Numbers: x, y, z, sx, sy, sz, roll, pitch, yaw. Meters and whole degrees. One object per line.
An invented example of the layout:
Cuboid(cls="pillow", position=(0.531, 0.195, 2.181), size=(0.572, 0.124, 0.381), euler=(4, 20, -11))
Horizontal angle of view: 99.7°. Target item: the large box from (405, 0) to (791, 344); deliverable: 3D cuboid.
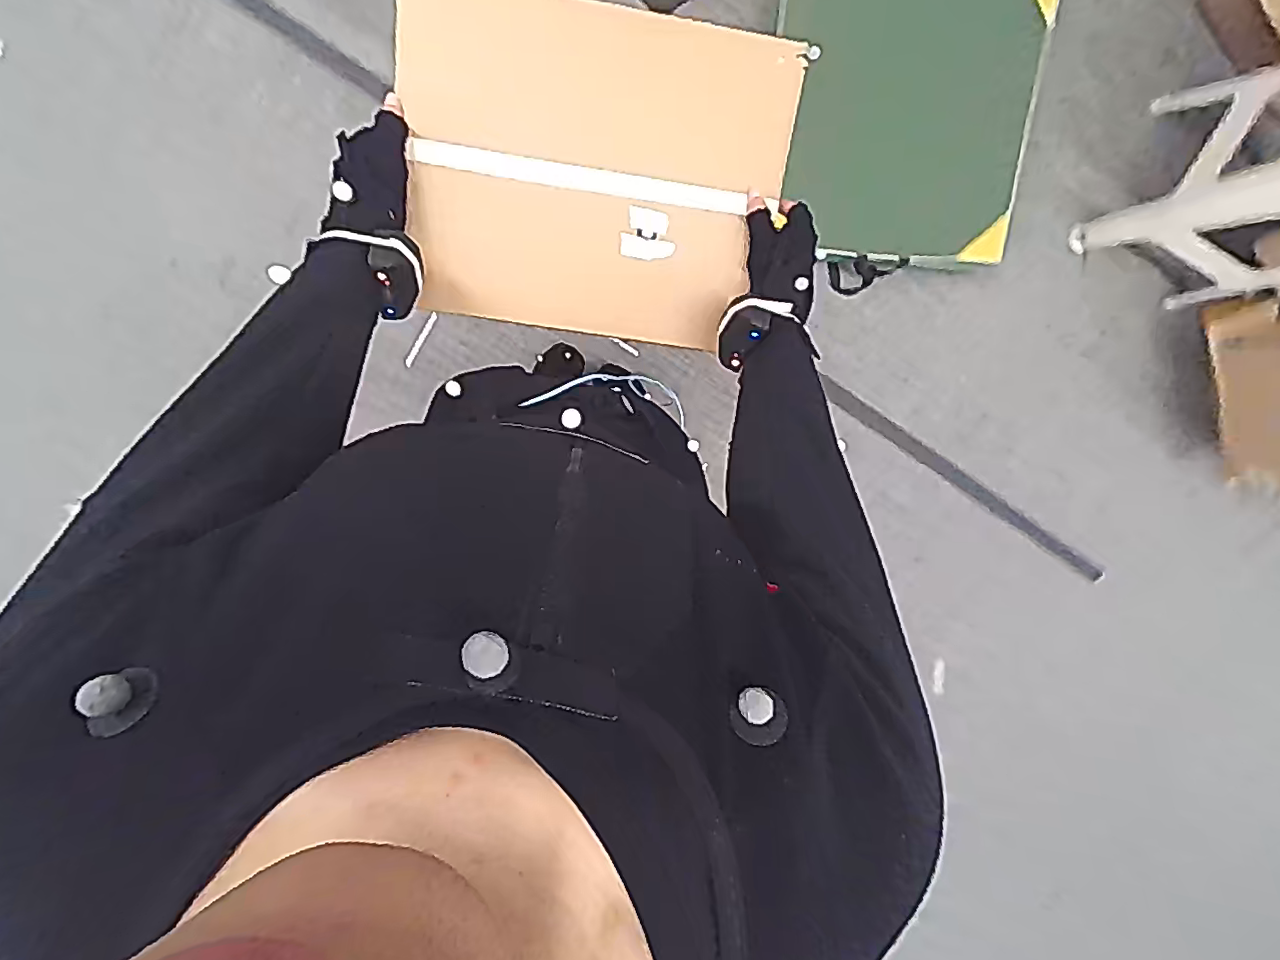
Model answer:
Cuboid(cls="large box", position=(-0.064, -0.367, 0.734), size=(0.408, 0.320, 0.320), euler=(5, 107, -6))
